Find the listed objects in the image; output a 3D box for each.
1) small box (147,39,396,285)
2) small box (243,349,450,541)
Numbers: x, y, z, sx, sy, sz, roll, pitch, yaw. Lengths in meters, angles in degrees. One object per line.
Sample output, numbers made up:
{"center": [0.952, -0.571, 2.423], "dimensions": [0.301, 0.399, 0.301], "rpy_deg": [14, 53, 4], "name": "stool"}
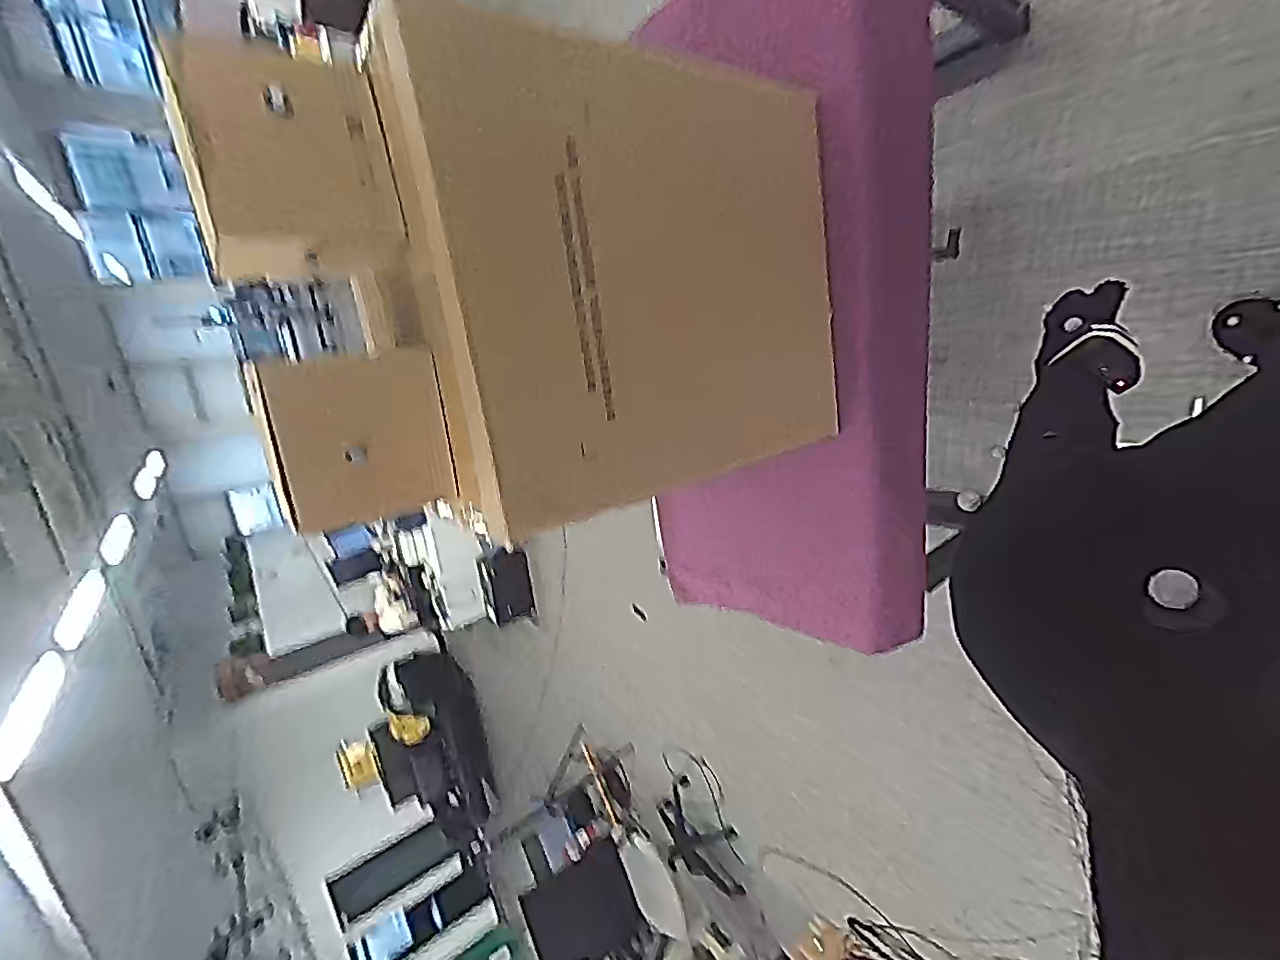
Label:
{"center": [-0.375, -0.313, 0.572], "dimensions": [0.179, 0.176, 0.168], "rpy_deg": [6, 109, 54], "name": "small box"}
{"center": [-0.337, -0.050, 0.631], "dimensions": [0.168, 0.176, 0.179], "rpy_deg": [10, 112, 51], "name": "small box"}
